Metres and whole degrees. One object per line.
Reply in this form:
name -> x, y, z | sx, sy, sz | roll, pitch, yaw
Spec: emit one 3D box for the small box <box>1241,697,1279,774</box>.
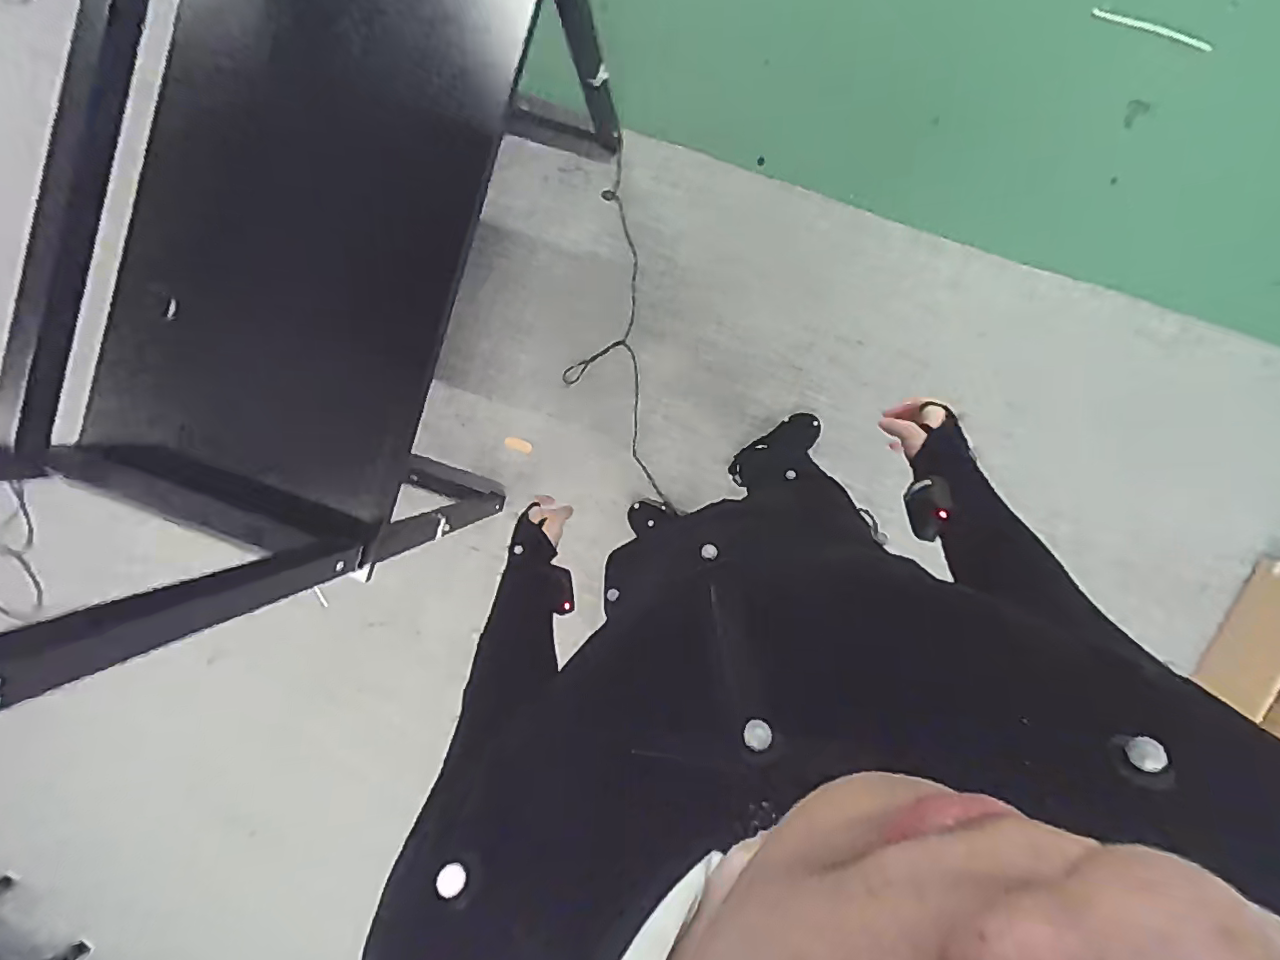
small box -> 1.725, 0.697, 1.381 | 0.168, 0.176, 0.179 | 25, 96, 3
